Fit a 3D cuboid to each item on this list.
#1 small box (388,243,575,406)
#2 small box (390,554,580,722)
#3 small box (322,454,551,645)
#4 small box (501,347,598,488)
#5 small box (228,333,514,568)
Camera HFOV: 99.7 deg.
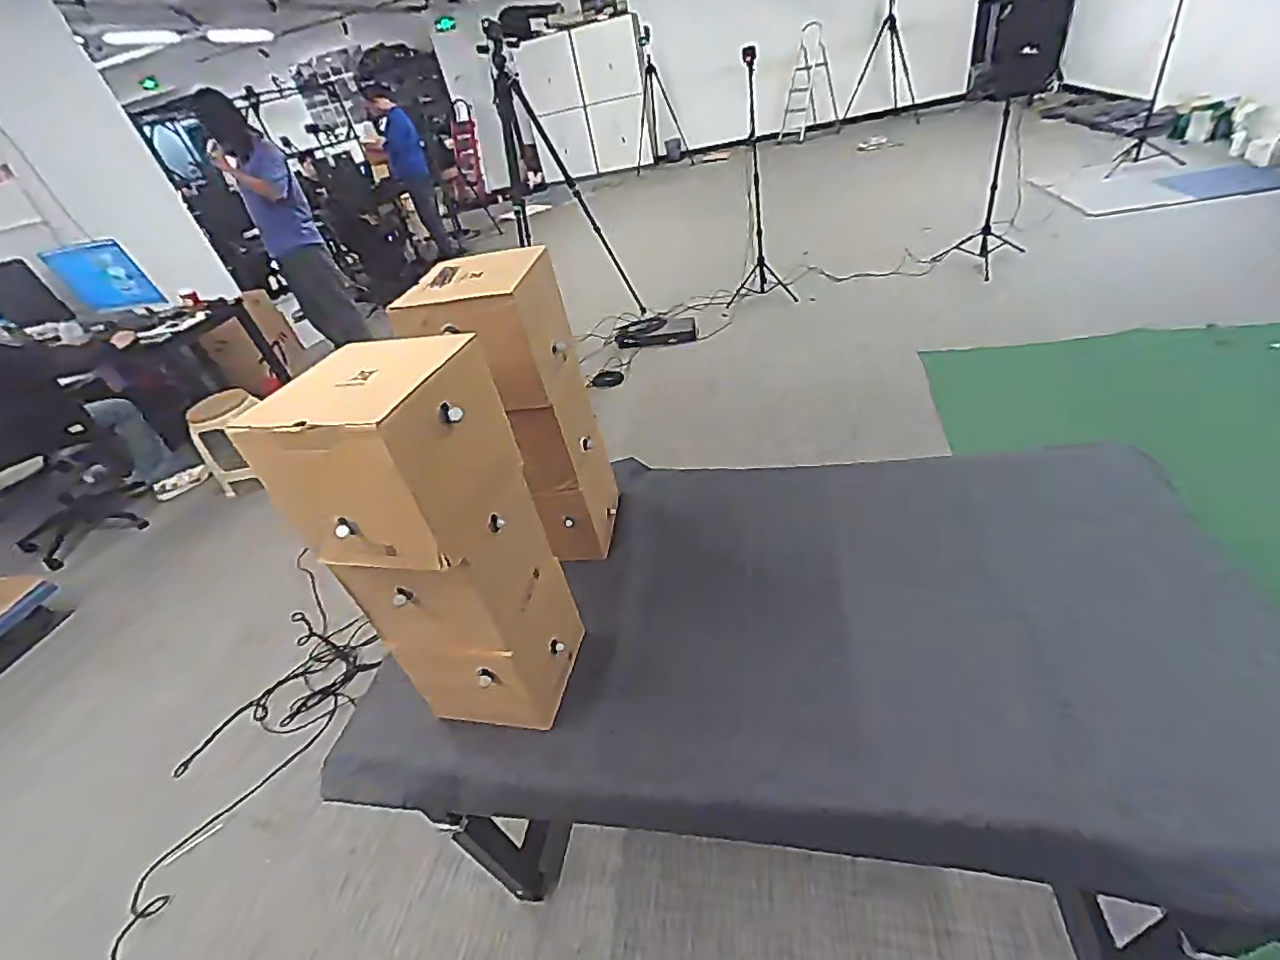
[{"bbox_3d":[-0.210,-0.215,0.772,0.179,0.176,0.168,-2,41,13],"label":"small box"},{"bbox_3d":[-0.199,0.216,0.758,0.179,0.176,0.168,-1,37,16],"label":"small box"},{"bbox_3d":[-0.231,0.086,0.665,0.179,0.176,0.168,-3,37,13],"label":"small box"},{"bbox_3d":[-0.182,-0.097,0.883,0.179,0.176,0.168,-4,42,11],"label":"small box"},{"bbox_3d":[-0.248,-0.034,0.554,0.168,0.176,0.179,0,39,16],"label":"small box"}]
